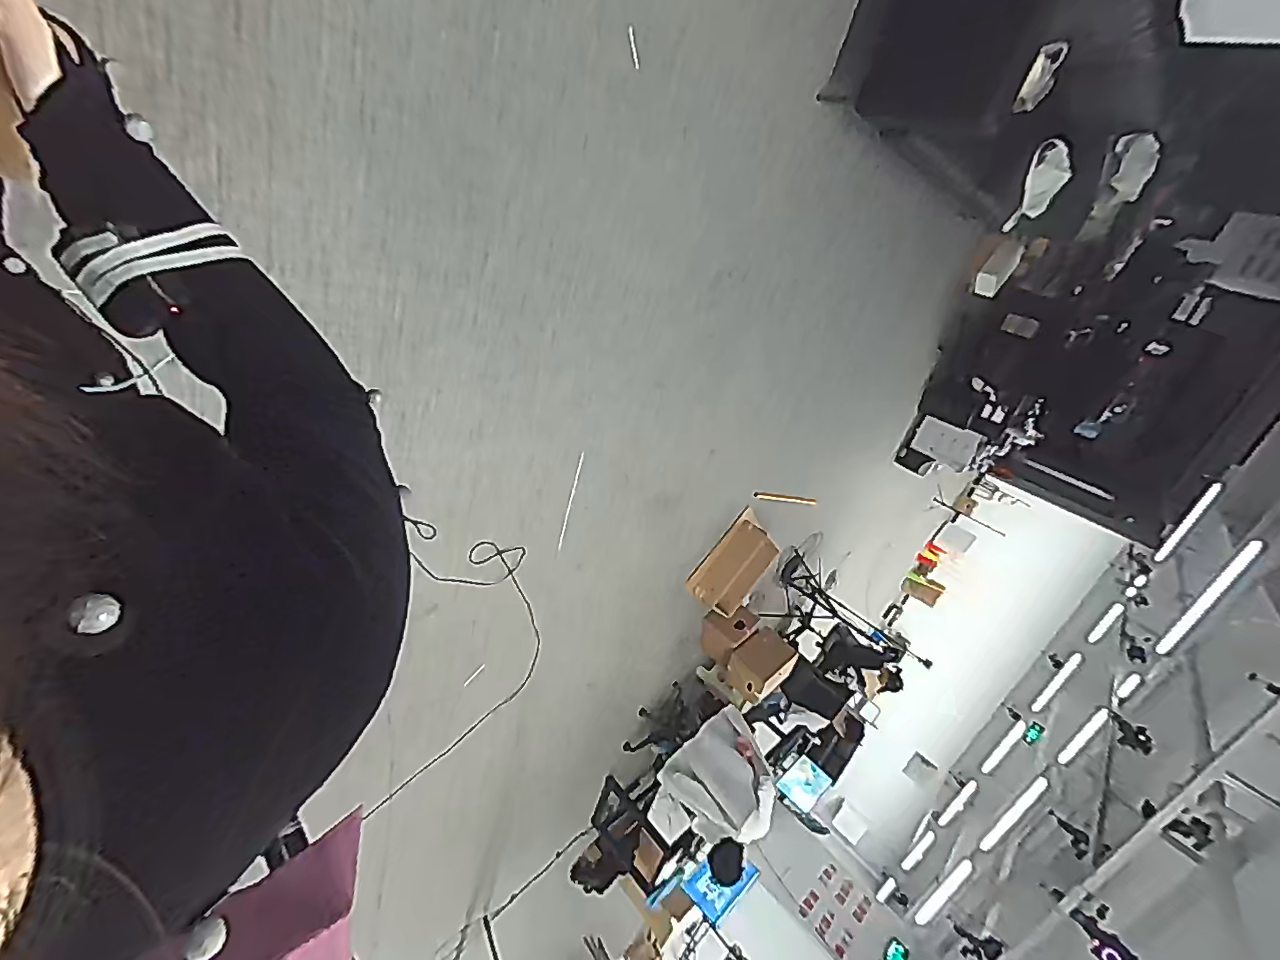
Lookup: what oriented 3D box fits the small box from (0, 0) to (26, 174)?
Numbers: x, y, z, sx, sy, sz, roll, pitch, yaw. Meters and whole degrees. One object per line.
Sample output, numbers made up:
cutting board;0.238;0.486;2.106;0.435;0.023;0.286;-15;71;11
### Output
small box;-0.515;-0.338;0.331;0.168;0.179;0.176;-9;168;-46
